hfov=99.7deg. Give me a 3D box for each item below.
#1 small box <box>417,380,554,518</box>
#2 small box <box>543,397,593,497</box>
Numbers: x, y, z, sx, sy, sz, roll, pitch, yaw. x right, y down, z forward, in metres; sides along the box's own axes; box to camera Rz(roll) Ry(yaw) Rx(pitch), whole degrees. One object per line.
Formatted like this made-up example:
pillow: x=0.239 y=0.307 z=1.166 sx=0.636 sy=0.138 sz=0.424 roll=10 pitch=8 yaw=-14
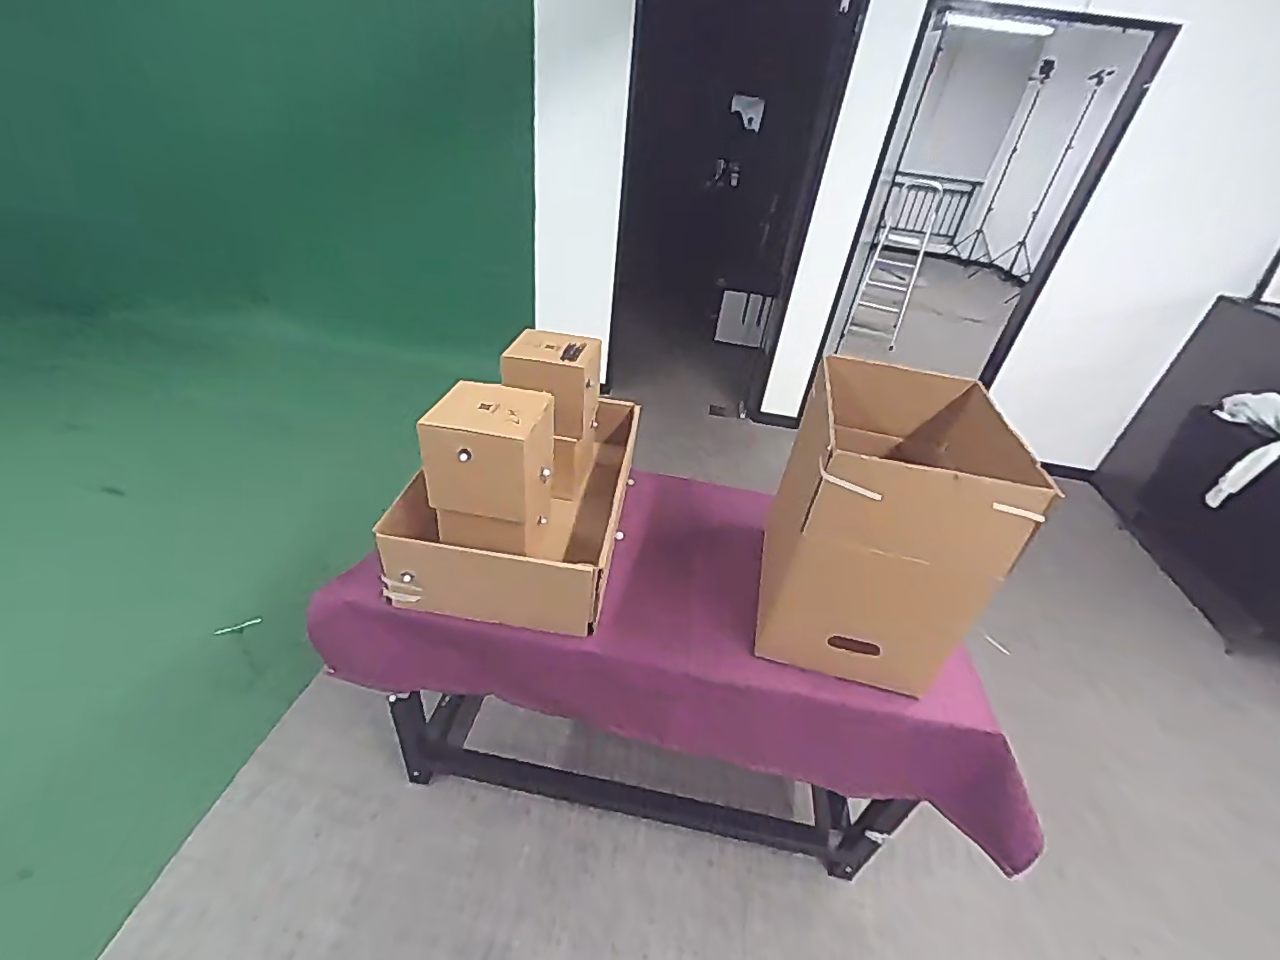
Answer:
small box: x=-0.258 y=-0.054 z=0.943 sx=0.179 sy=0.176 sz=0.168 roll=10 pitch=36 yaw=4
small box: x=-0.210 y=-0.081 z=1.279 sx=0.168 sy=0.176 sz=0.179 roll=10 pitch=36 yaw=5
